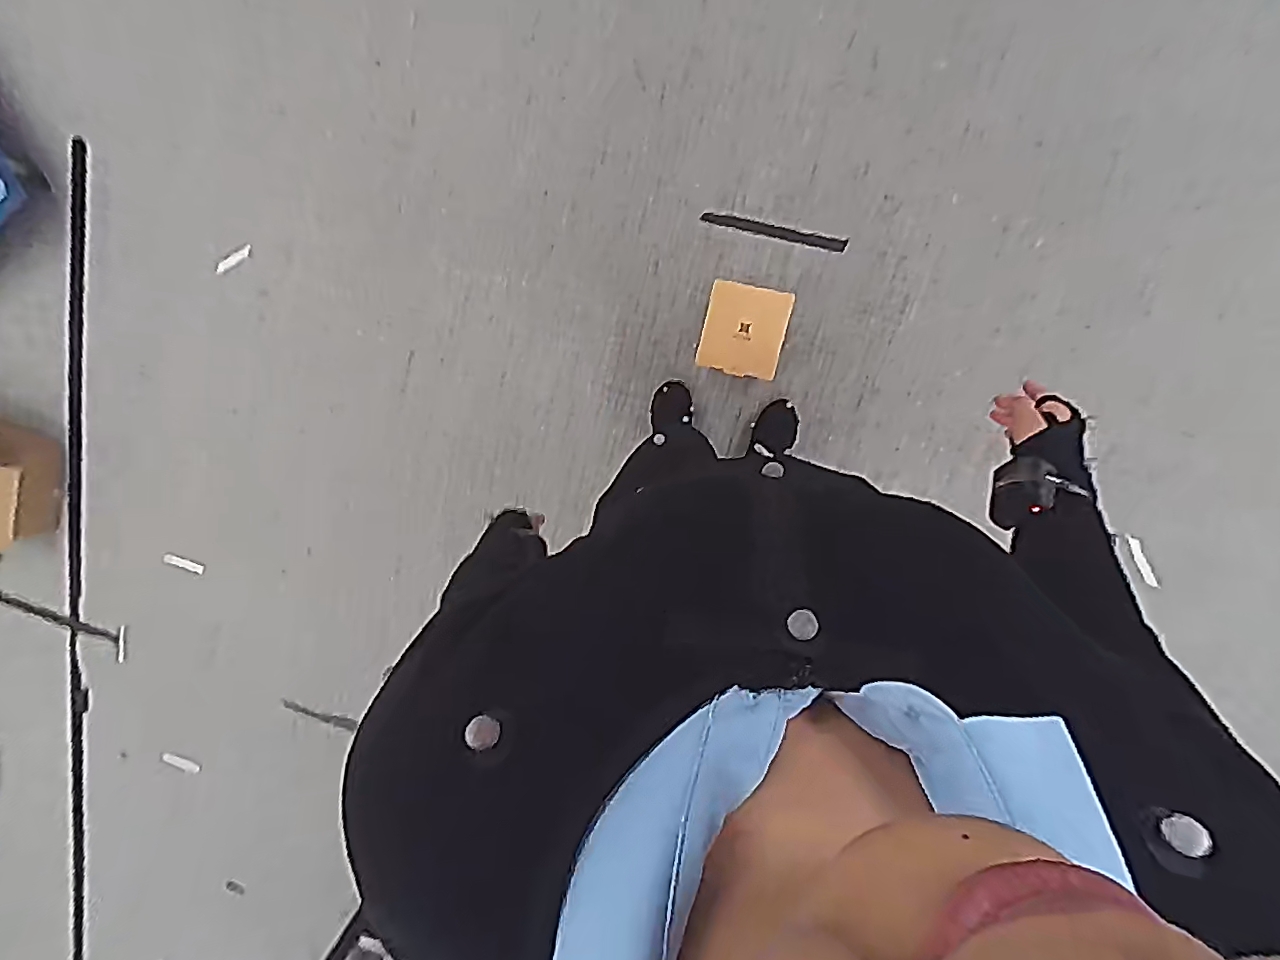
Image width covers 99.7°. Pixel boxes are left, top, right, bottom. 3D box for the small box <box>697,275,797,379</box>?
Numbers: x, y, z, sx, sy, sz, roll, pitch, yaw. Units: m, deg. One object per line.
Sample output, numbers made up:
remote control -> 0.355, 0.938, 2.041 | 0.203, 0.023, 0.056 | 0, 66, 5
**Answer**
small box -> 0.224, -0.324, 1.164 | 0.168, 0.176, 0.179 | 14, 105, 6
